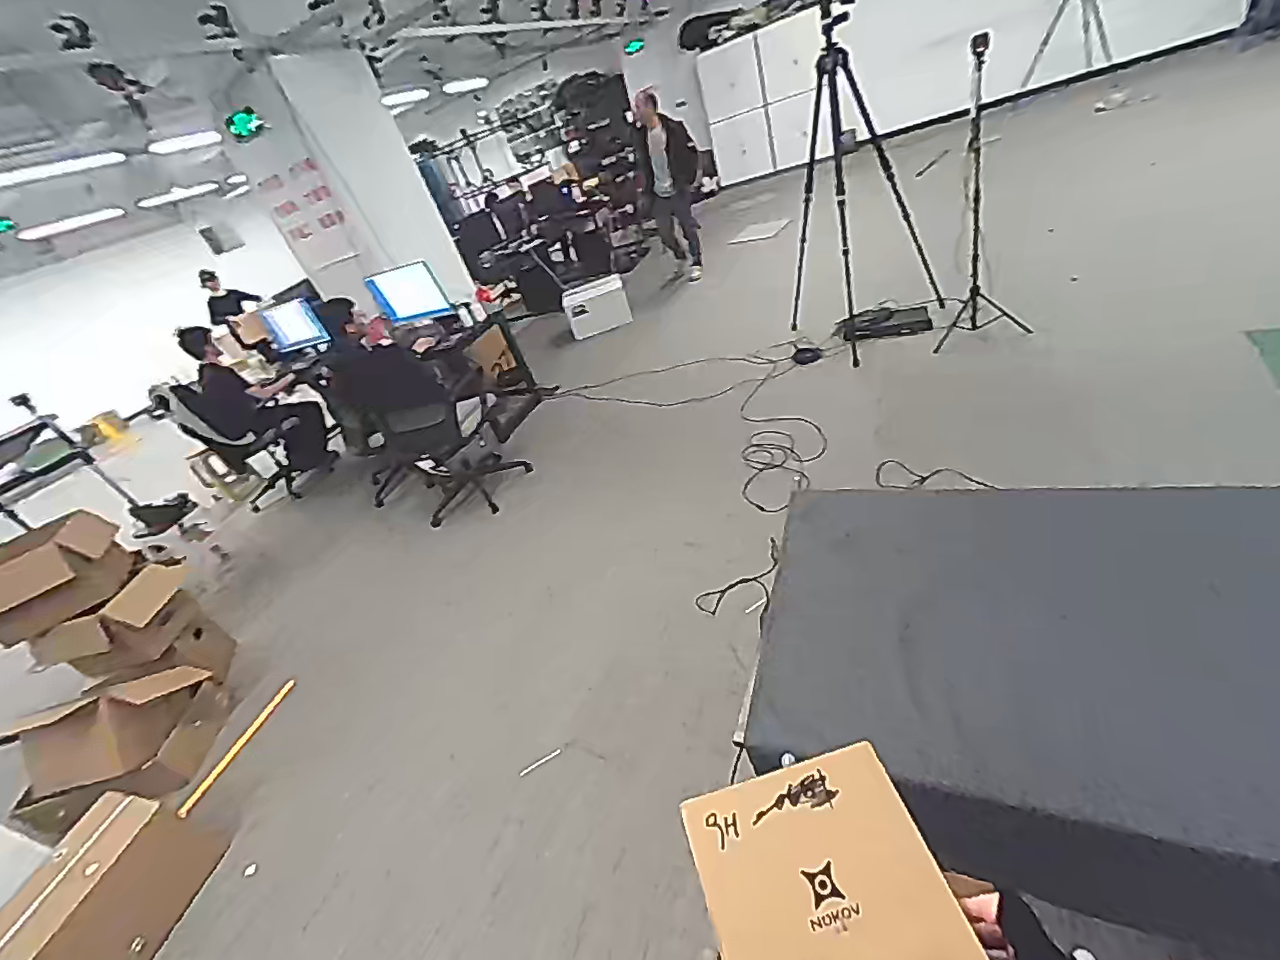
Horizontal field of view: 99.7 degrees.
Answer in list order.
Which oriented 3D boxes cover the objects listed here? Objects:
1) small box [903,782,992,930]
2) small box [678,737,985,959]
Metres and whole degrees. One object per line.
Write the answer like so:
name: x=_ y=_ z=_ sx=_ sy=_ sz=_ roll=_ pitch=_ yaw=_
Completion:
small box: x=0.640 y=0.792 z=1.146 sx=0.168 sy=0.176 sz=0.179 roll=4 pitch=40 yaw=35
small box: x=0.136 y=0.338 z=0.428 sx=0.168 sy=0.176 sz=0.179 roll=-14 pitch=46 yaw=-5
